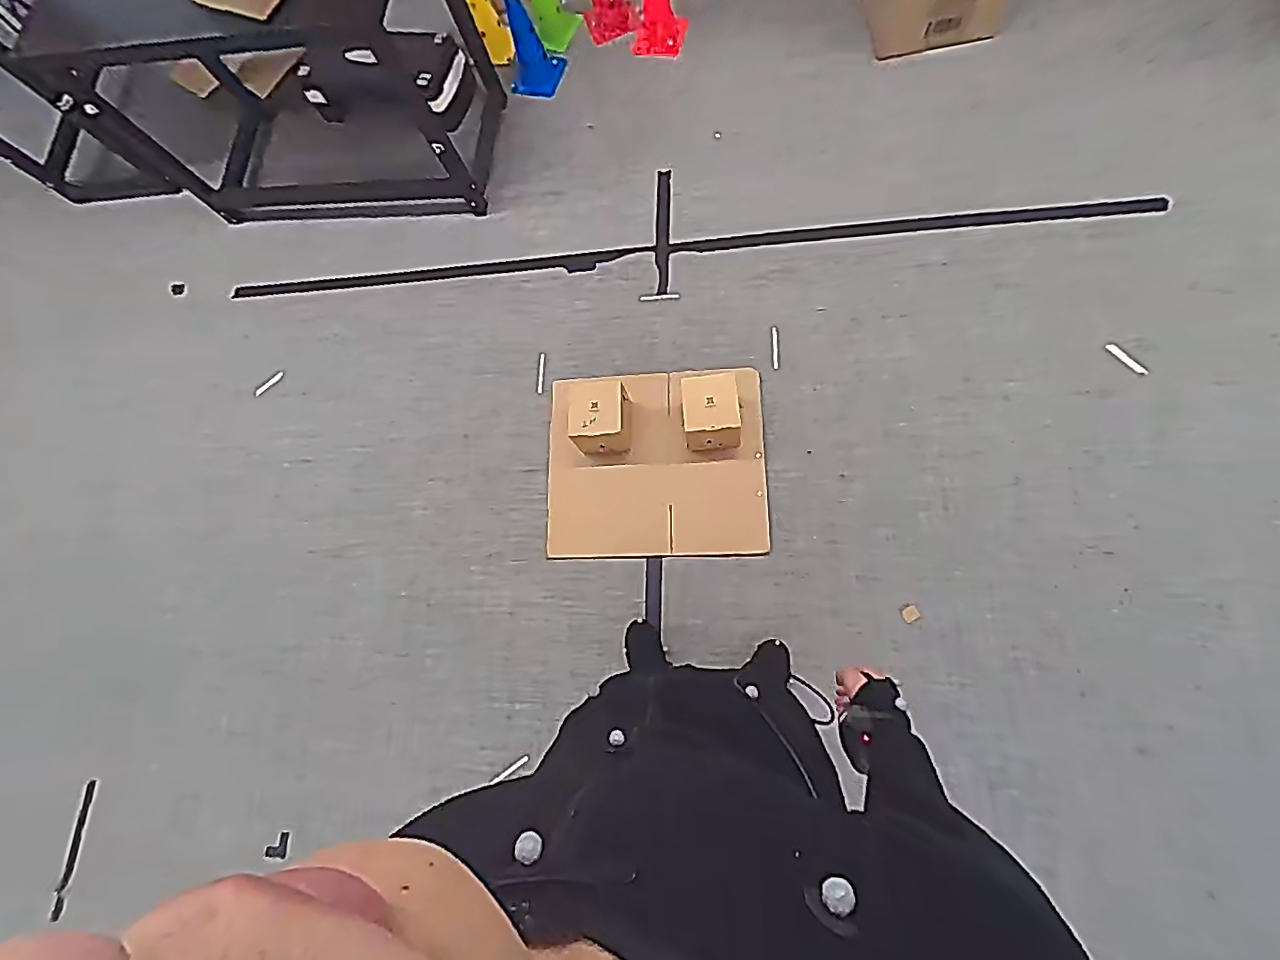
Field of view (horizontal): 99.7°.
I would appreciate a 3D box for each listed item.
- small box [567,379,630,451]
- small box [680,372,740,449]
[{"bbox_3d":[-0.127,-0.200,1.707,0.168,0.176,0.179,-3,75,9],"label":"small box"},{"bbox_3d":[0.214,-0.210,1.662,0.168,0.176,0.179,-6,75,8],"label":"small box"}]
